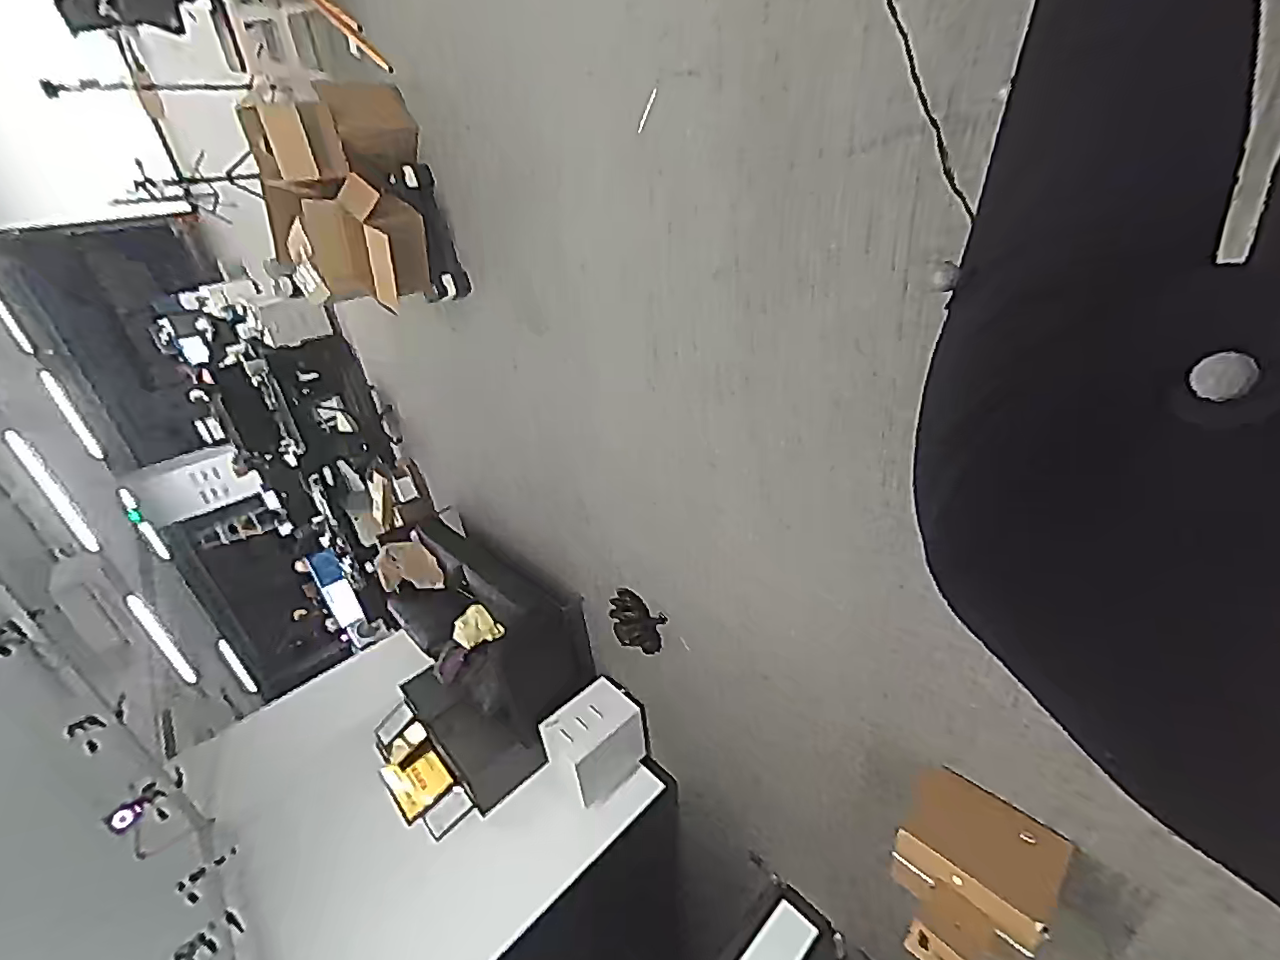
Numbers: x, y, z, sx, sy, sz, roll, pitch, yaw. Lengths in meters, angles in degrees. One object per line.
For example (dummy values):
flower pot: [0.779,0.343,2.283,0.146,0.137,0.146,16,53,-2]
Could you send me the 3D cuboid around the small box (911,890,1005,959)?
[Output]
small box: [0.959,1.393,1.632,0.179,0.176,0.168,28,130,39]
